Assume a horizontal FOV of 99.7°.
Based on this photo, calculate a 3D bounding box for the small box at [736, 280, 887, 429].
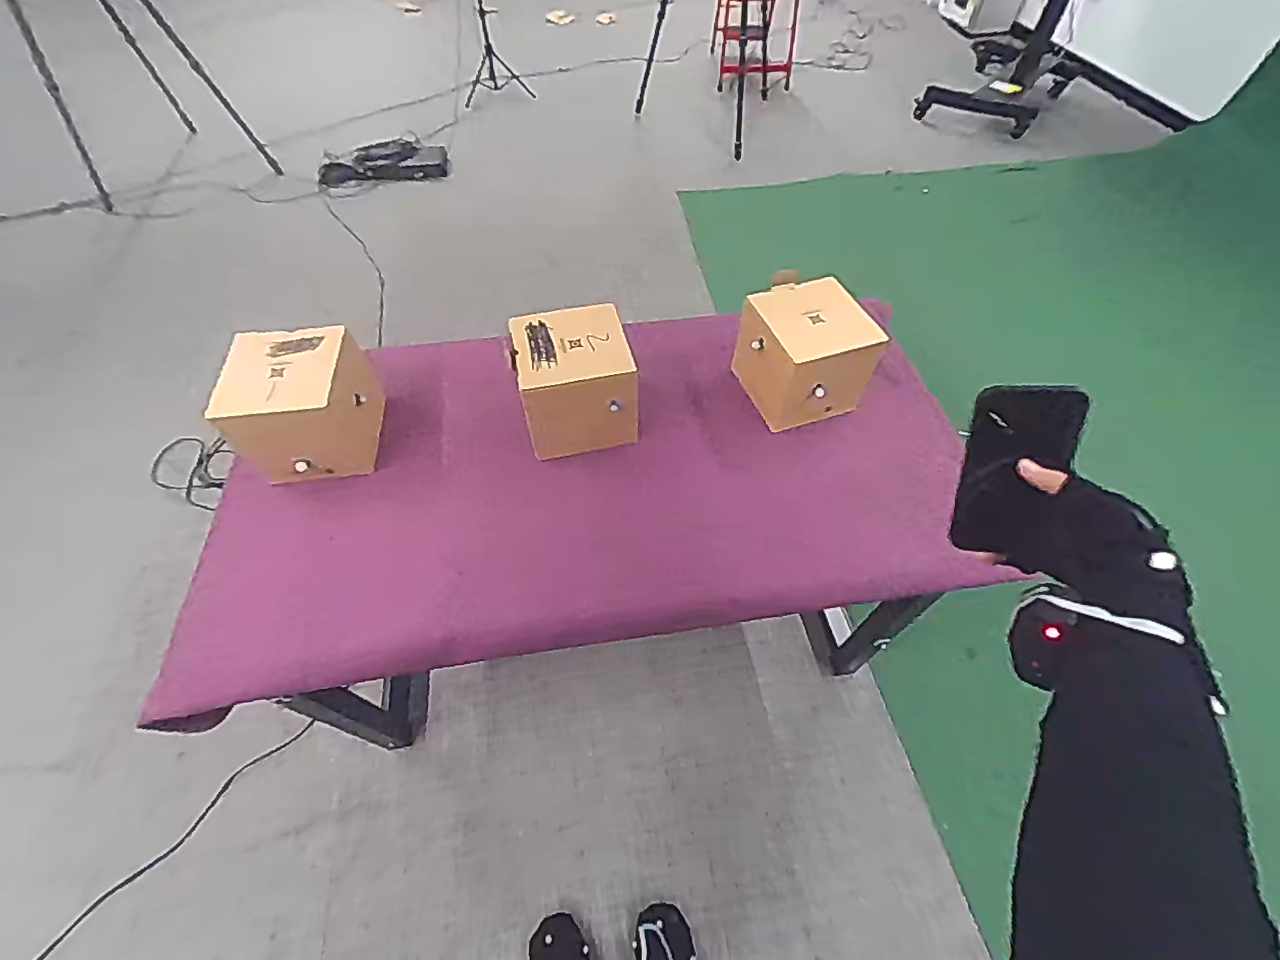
[{"bbox_3d":[0.280,-0.207,0.928,0.168,0.176,0.179,-16,56,-10],"label":"small box"}]

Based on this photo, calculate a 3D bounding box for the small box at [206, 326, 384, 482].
[{"bbox_3d":[-0.526,-0.118,0.858,0.168,0.176,0.179,-6,57,-5],"label":"small box"}]
